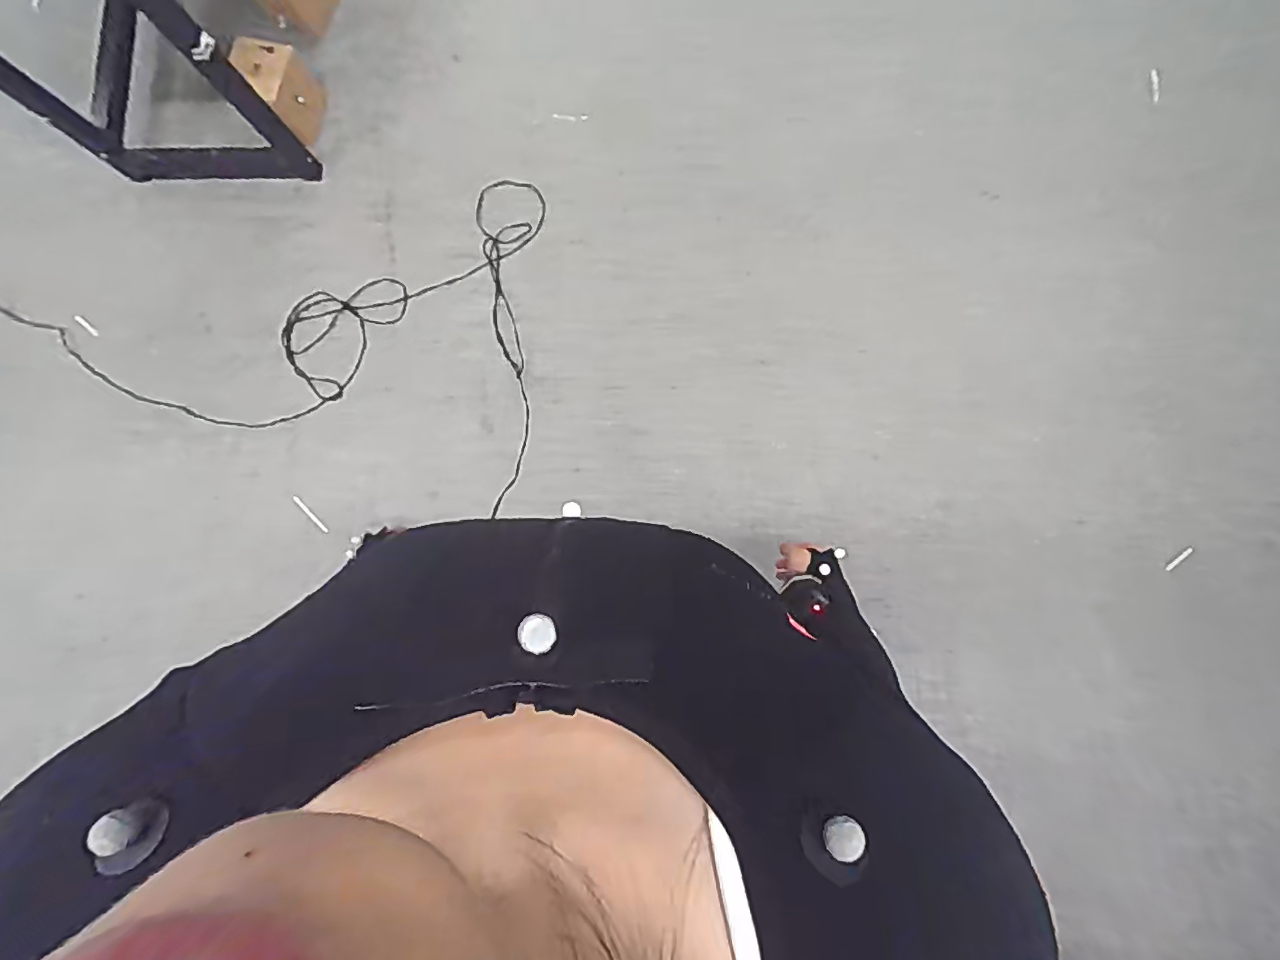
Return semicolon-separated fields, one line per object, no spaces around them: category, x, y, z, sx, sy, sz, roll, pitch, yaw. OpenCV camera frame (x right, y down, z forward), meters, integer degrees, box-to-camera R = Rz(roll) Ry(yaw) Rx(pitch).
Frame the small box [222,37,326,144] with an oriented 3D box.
small box;-1.045;-1.114;1.560;0.168;0.176;0.179;13;86;2

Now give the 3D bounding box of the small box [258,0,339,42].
small box;-1.027;-1.459;1.593;0.168;0.176;0.179;21;87;3
